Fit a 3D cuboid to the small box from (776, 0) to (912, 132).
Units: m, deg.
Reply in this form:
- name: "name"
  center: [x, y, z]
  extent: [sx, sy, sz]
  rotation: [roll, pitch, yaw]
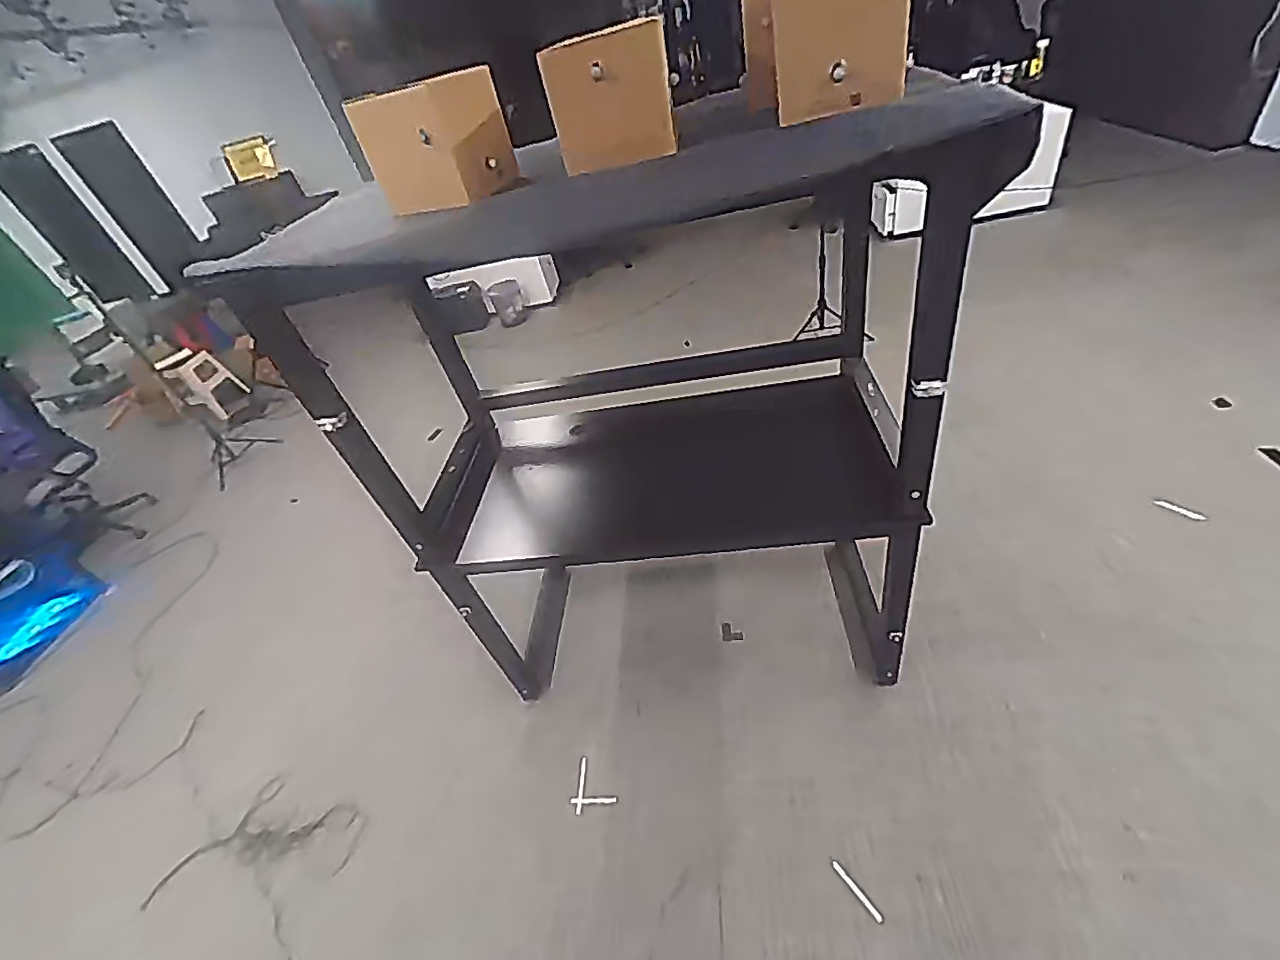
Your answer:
- name: "small box"
  center: [0.285, -0.623, 0.778]
  extent: [0.168, 0.176, 0.179]
  rotation: [-2, 42, 17]

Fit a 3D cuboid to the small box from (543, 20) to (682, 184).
- name: "small box"
  center: [-0.030, -0.592, 0.851]
  extent: [0.179, 0.176, 0.168]
  rotation: [-7, 40, 11]
